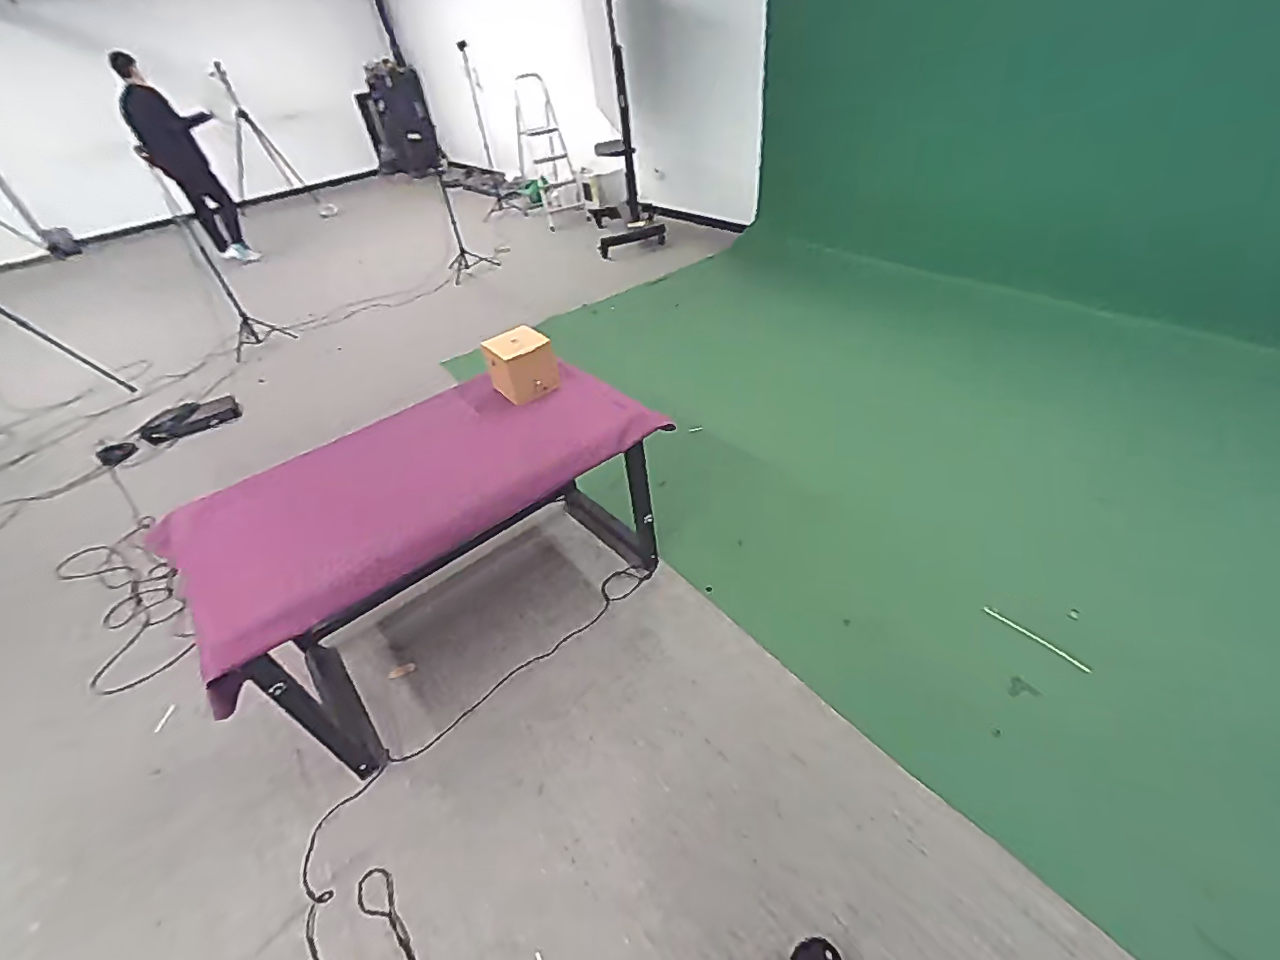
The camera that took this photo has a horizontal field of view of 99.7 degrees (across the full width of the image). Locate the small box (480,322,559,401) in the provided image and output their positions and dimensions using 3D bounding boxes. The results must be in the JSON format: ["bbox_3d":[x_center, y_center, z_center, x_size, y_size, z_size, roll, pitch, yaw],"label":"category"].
[{"bbox_3d":[-0.385,-0.380,1.742,0.168,0.176,0.179,-32,47,-24],"label":"small box"}]
